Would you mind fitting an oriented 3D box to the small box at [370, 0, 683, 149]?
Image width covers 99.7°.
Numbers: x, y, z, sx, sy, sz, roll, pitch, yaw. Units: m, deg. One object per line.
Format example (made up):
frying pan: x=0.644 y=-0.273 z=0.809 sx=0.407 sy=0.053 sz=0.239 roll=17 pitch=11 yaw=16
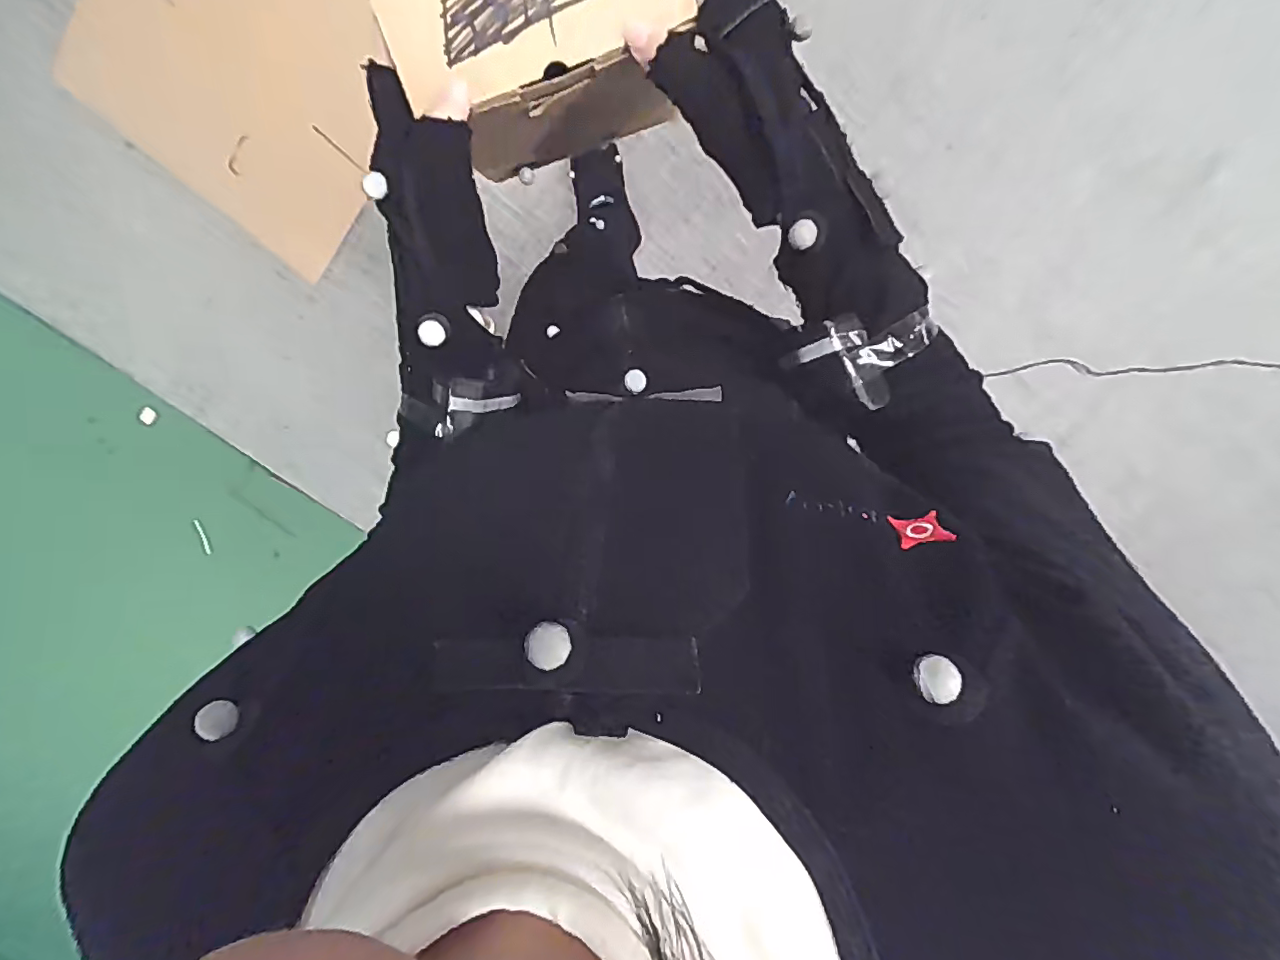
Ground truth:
small box: x=-0.077 y=-0.338 z=0.344 sx=0.168 sy=0.176 sz=0.179 roll=-19 pitch=110 yaw=7
